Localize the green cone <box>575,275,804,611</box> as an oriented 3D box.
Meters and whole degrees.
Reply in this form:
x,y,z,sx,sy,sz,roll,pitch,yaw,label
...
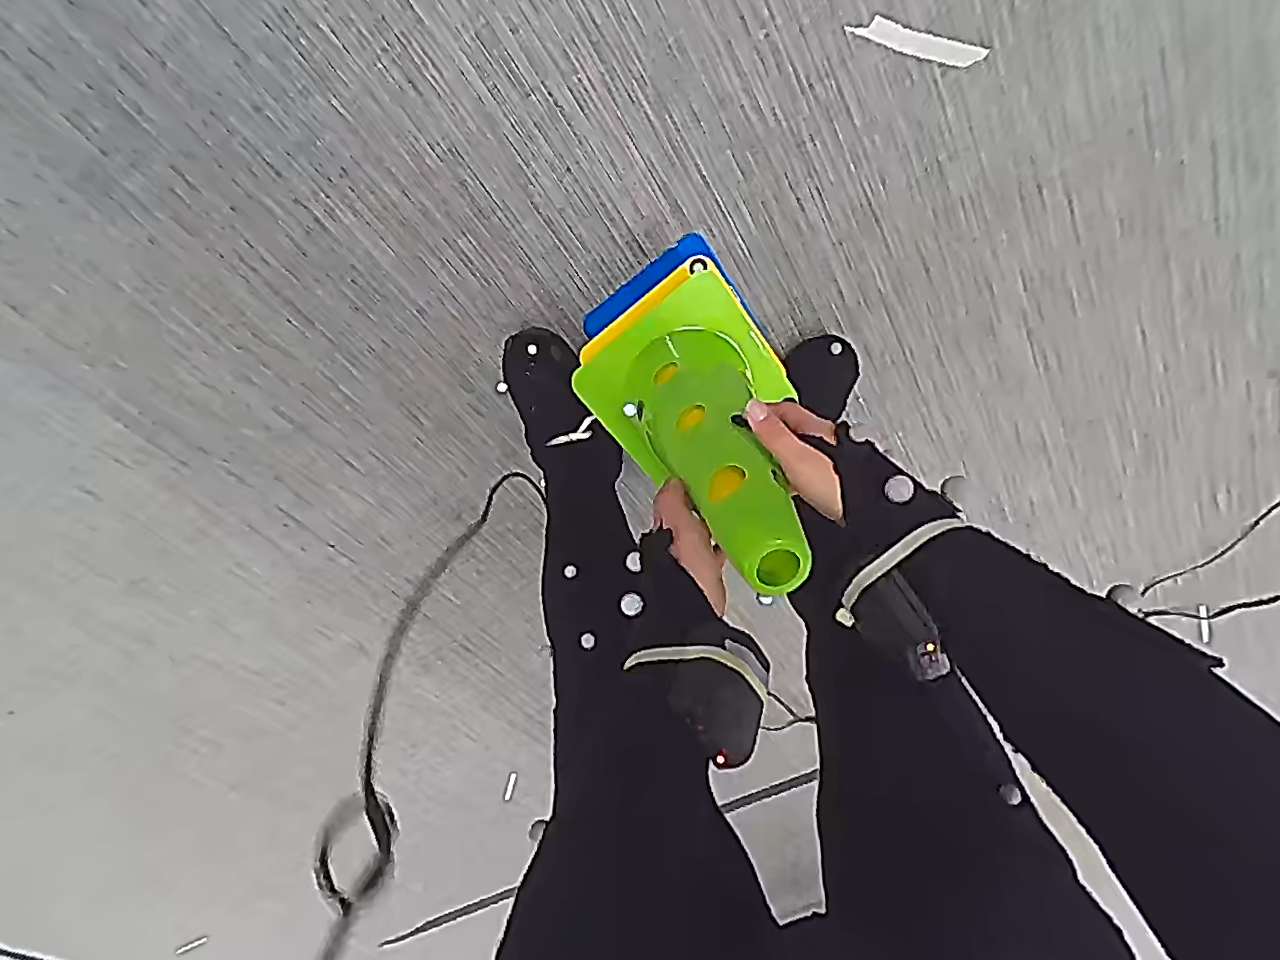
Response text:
x,y,z,sx,sy,sz,roll,pitch,yaw,label
0.065,-0.023,0.459,0.202,0.368,0.200,-37,112,14,green cone
